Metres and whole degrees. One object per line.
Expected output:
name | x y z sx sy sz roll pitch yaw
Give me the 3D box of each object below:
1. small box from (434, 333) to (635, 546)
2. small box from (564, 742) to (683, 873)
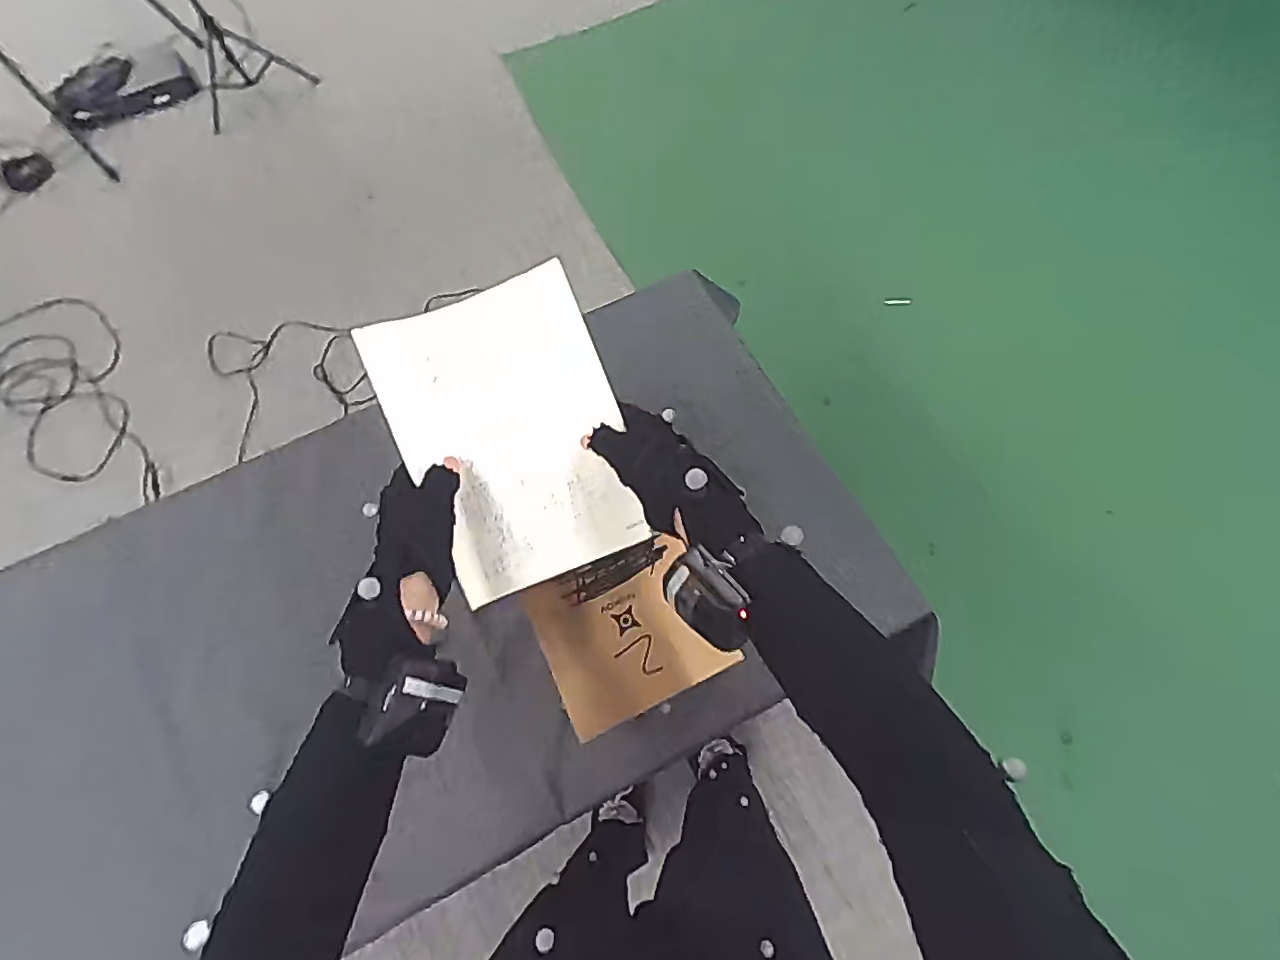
small box | -0.117 -0.041 0.665 0.179 0.176 0.168 -27 70 -7
small box | -0.041 0.697 1.171 0.179 0.176 0.168 37 88 34
